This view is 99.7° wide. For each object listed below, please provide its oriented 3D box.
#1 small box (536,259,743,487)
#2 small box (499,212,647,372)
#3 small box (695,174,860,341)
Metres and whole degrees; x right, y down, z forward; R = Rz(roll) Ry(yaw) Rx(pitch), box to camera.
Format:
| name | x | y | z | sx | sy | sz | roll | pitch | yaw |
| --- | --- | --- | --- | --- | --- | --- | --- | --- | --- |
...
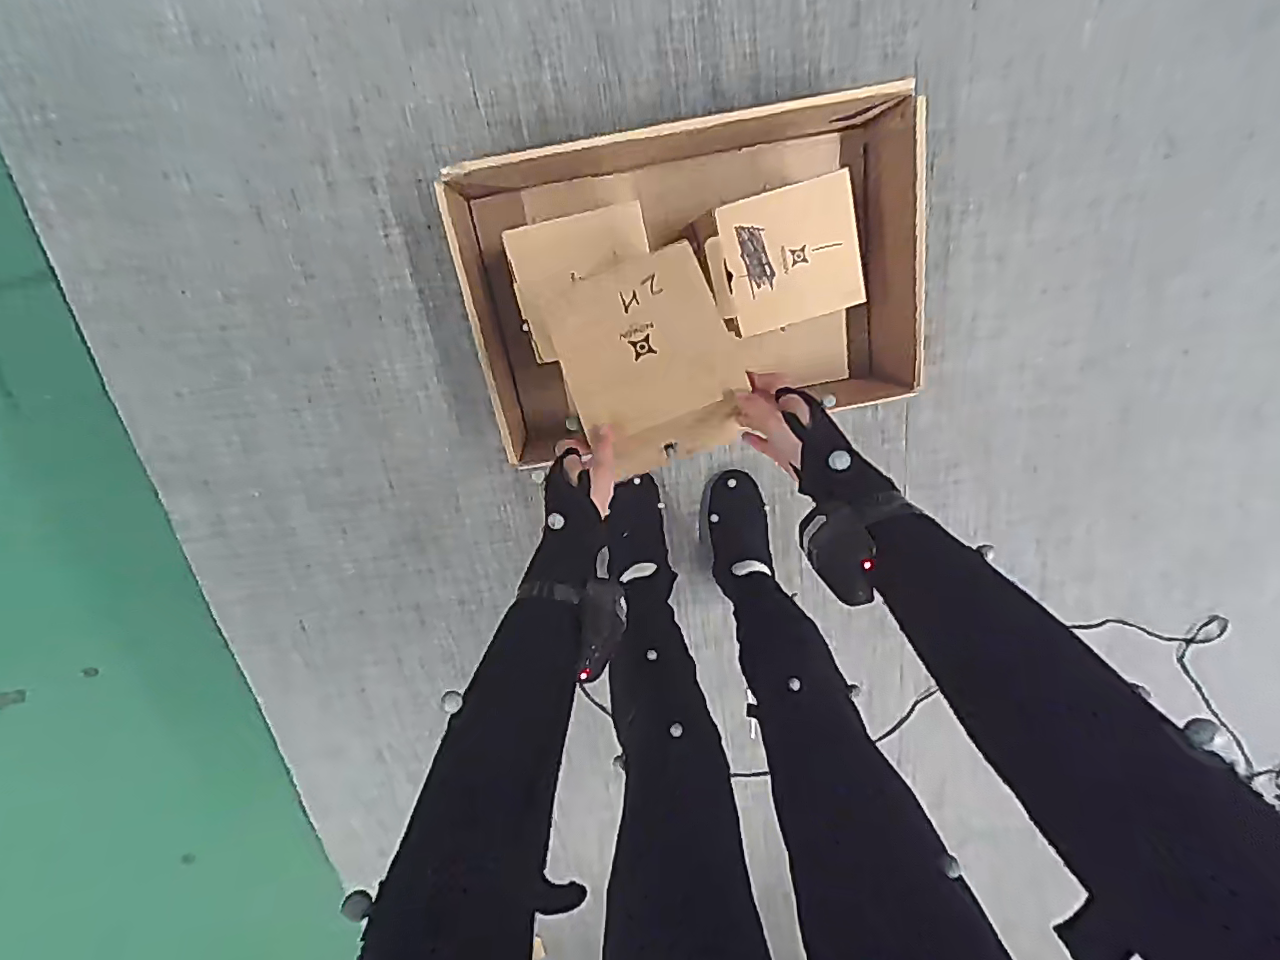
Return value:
| name | x | y | z | sx | sy | sz | roll | pitch | yaw |
| --- | --- | --- | --- | --- | --- | --- | --- | --- | --- |
| small box | 0.005 | -0.104 | 0.613 | 0.168 | 0.176 | 0.179 | -21 | 74 | 0 |
| small box | -0.079 | -0.262 | 0.766 | 0.179 | 0.176 | 0.168 | -15 | 111 | 0 |
| small box | 0.183 | -0.307 | 0.770 | 0.179 | 0.176 | 0.168 | -17 | 110 | 2 |
